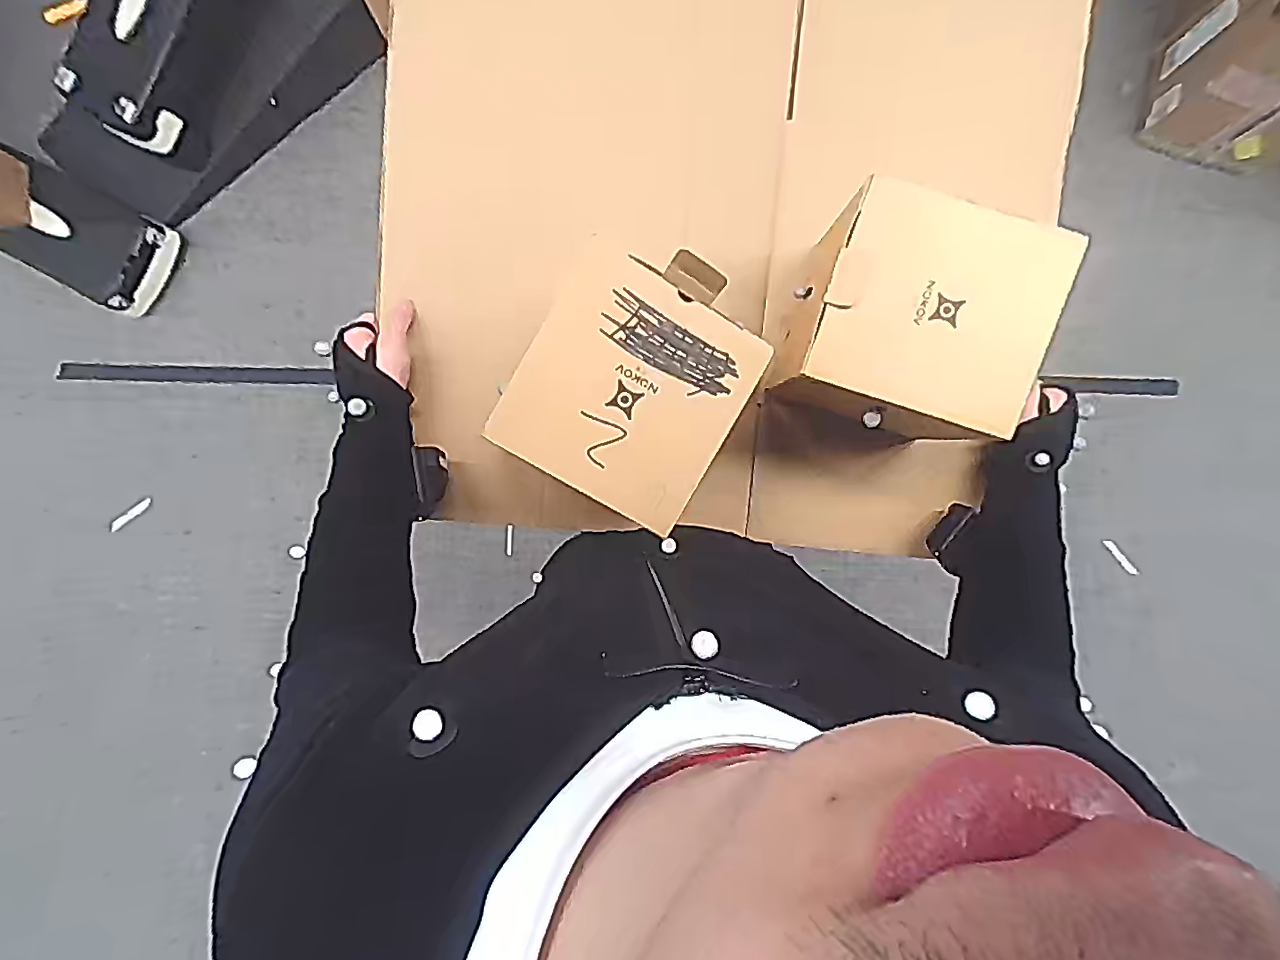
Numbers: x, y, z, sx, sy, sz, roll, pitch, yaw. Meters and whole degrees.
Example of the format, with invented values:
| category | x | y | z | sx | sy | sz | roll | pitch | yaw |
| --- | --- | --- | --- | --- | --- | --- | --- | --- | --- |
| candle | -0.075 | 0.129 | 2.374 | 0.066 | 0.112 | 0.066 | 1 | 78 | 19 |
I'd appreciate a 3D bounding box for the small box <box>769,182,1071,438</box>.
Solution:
| category | x | y | z | sx | sy | sz | roll | pitch | yaw |
| --- | --- | --- | --- | --- | --- | --- | --- | --- | --- |
| small box | 0.242 | -0.145 | 0.520 | 0.179 | 0.176 | 0.168 | 18 | 96 | 3 |
